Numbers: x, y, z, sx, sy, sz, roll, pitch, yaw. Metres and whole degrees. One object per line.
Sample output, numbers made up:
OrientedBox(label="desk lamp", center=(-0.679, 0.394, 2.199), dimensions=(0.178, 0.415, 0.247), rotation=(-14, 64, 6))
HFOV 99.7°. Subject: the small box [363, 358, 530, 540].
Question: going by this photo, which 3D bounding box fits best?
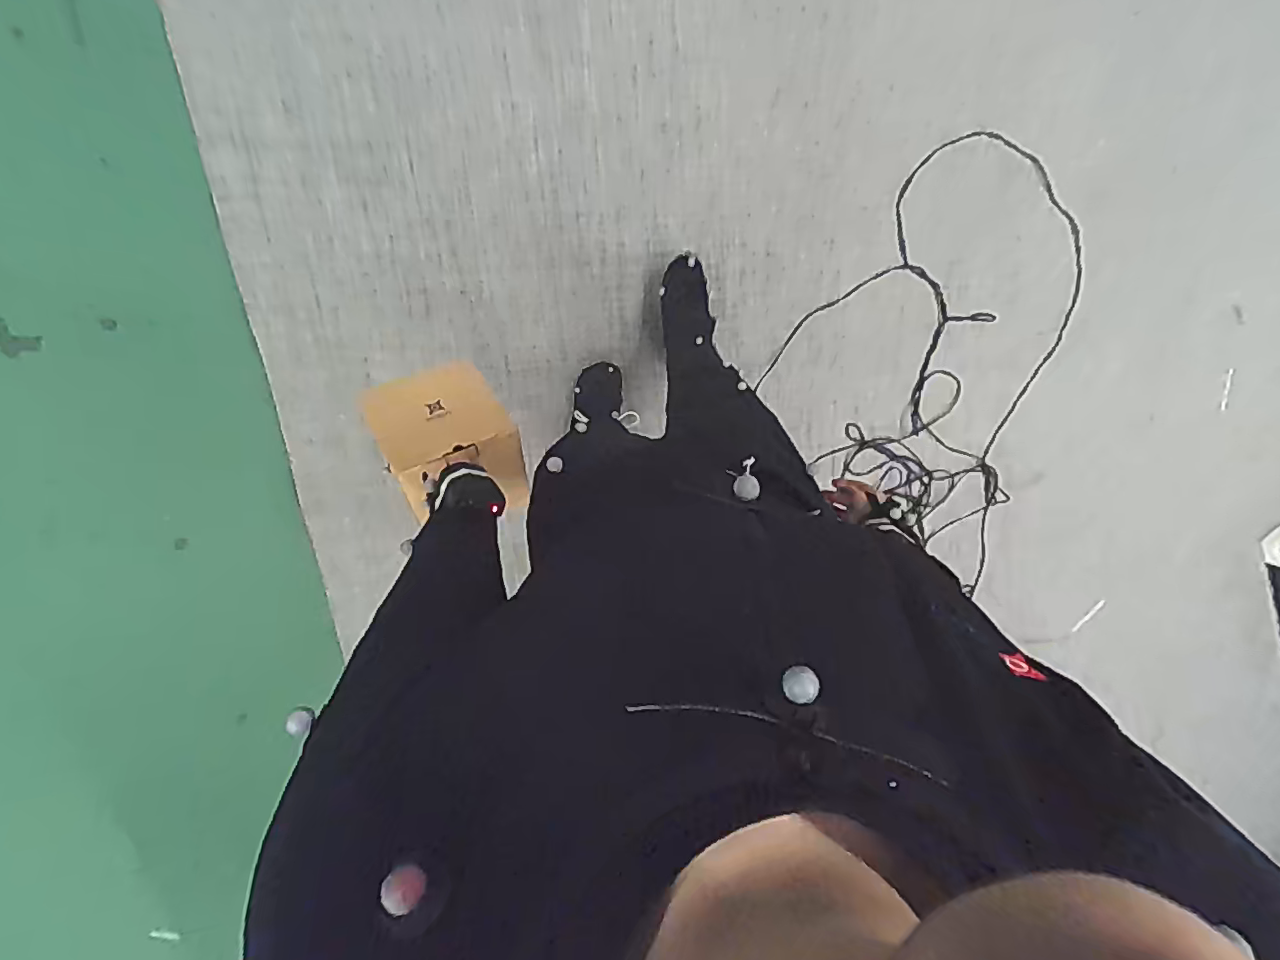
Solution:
OrientedBox(label="small box", center=(-0.277, -0.044, 0.796), dimensions=(0.168, 0.179, 0.176), rotation=(-25, 147, -22))
